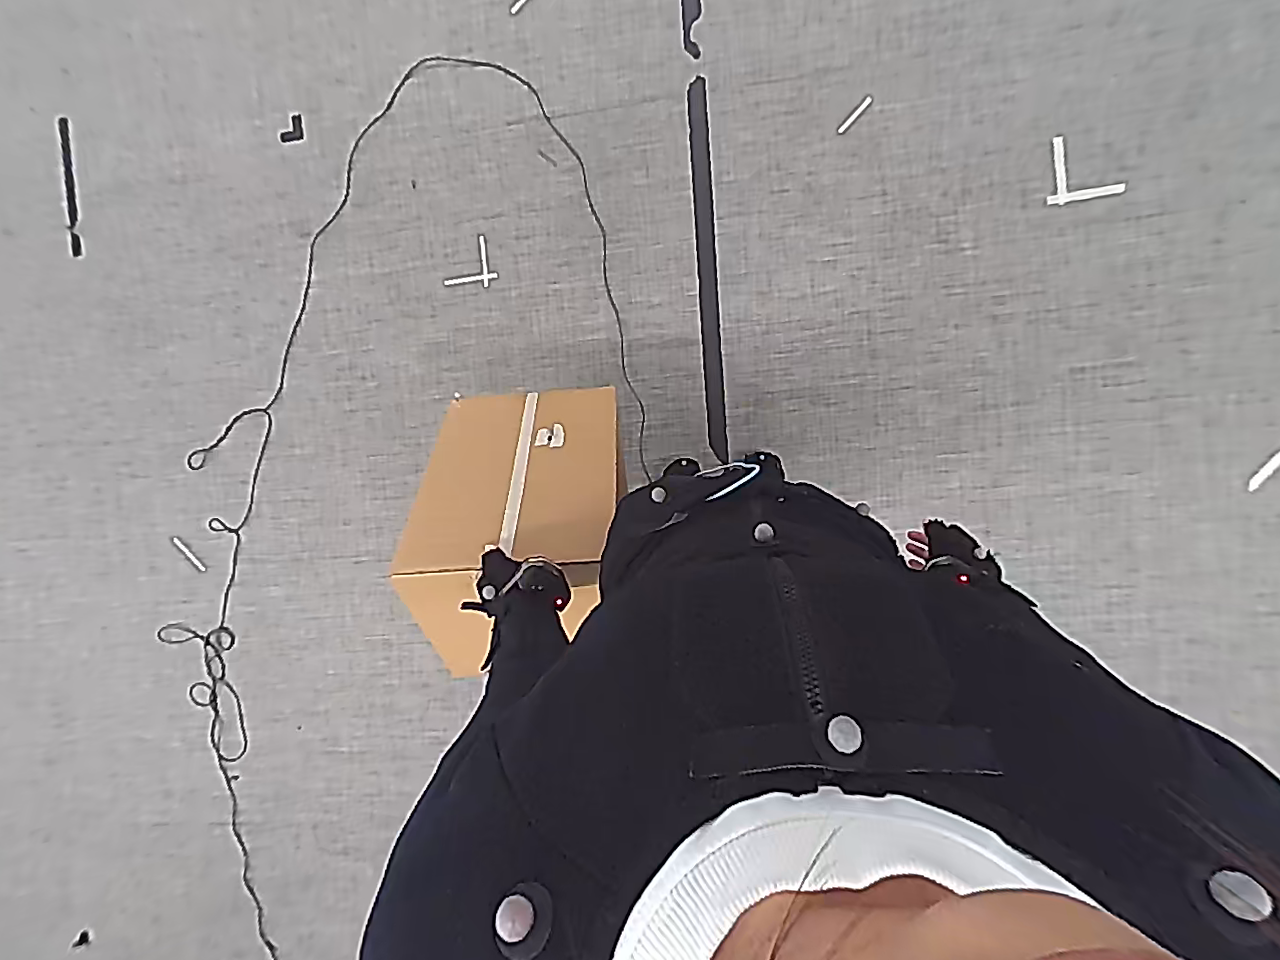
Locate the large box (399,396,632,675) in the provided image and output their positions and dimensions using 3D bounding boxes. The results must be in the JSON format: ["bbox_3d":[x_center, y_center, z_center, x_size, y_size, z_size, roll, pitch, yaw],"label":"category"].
[{"bbox_3d":[-0.184,0.095,0.995,0.320,0.408,0.320,-3,134,2],"label":"large box"}]
